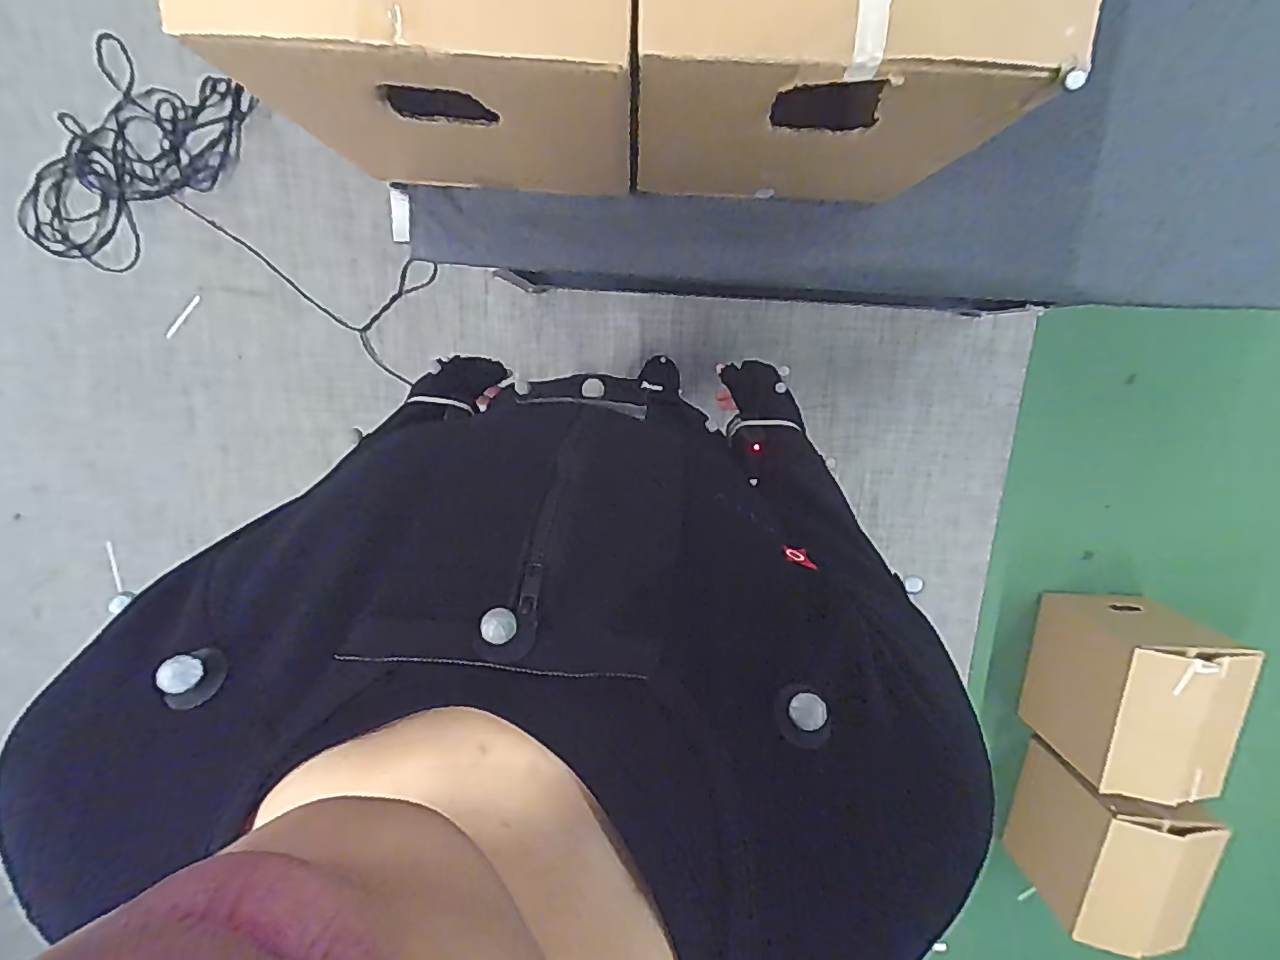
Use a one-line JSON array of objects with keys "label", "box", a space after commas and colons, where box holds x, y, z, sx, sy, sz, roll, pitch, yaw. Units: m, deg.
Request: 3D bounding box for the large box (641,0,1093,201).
[{"label": "large box", "box": [0.160, -0.509, 0.479, 0.320, 0.320, 0.408, 2, 103, 0]}]
